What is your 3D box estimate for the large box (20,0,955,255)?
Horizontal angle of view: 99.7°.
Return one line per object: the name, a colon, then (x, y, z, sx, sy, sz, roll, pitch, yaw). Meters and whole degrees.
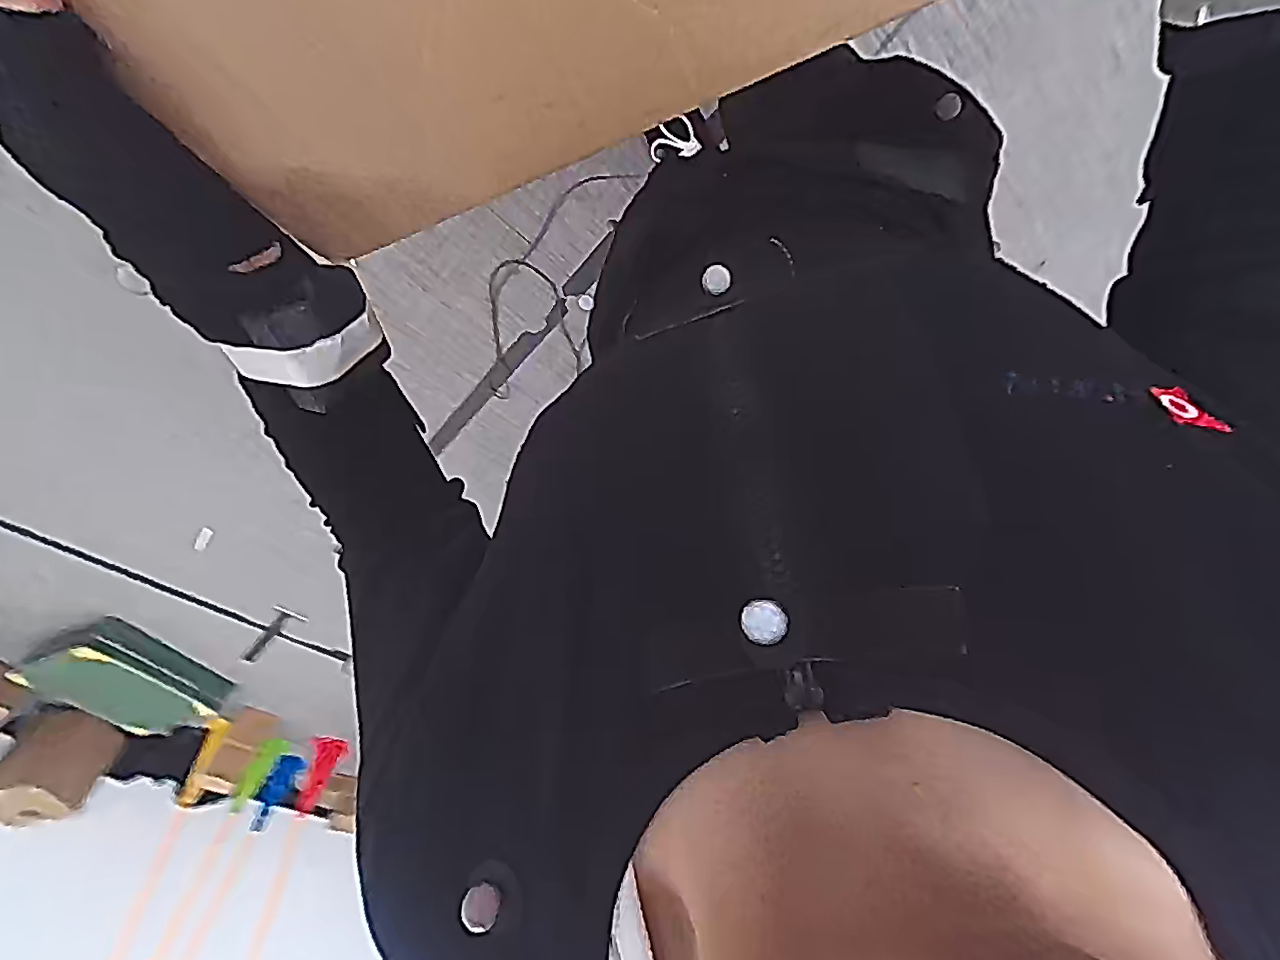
large box: (-0.050, -0.355, 0.170, 0.408, 0.320, 0.320, -14, 161, 14)
